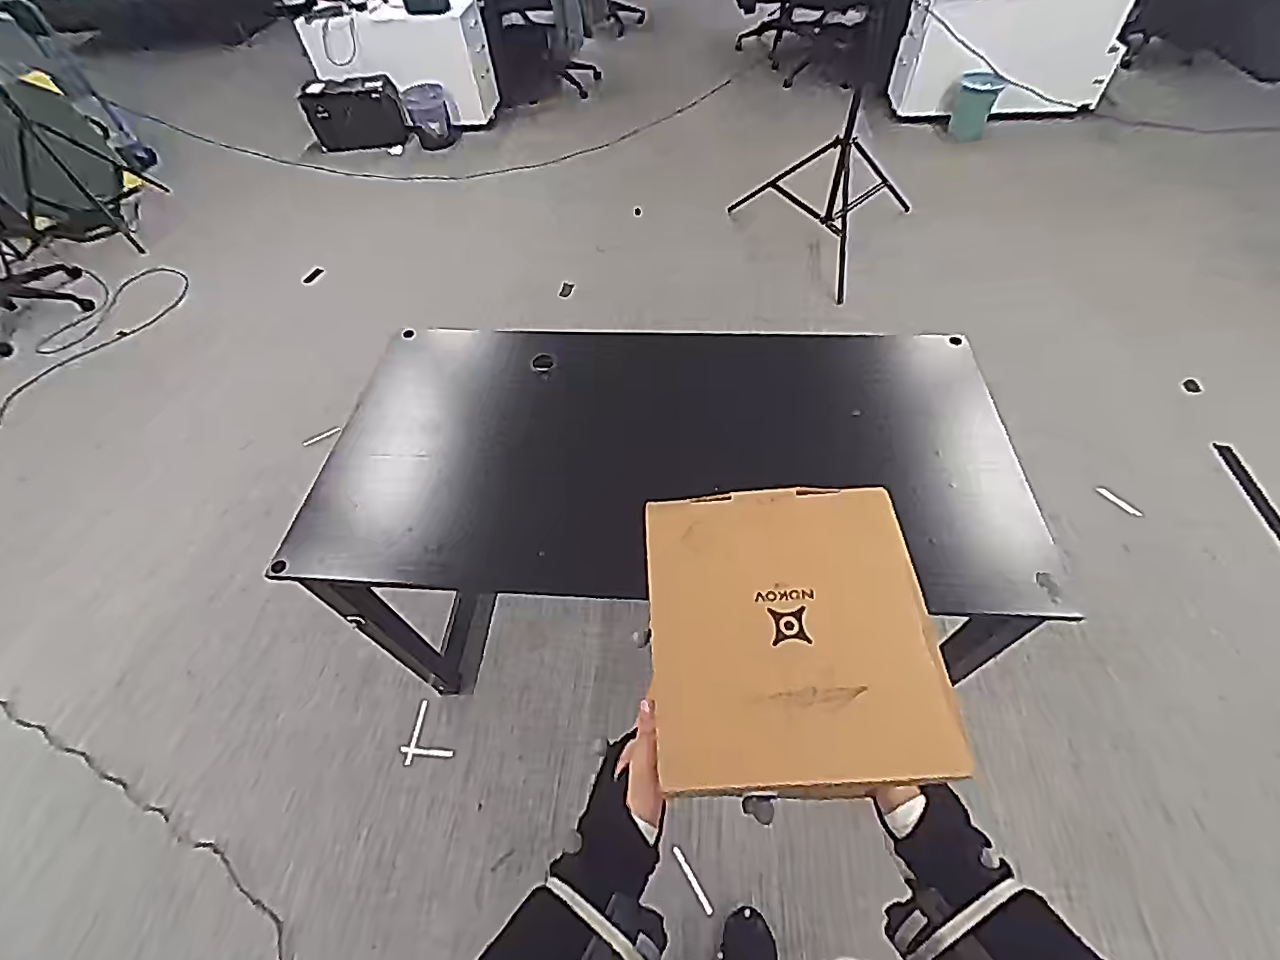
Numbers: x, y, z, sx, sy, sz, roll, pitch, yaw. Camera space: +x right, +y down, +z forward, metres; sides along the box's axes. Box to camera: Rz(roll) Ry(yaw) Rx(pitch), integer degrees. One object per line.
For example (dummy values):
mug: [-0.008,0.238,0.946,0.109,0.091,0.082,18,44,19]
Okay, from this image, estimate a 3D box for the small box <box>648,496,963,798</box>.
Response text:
small box: [0.092,0.130,0.400,0.168,0.176,0.179,-4,59,2]
